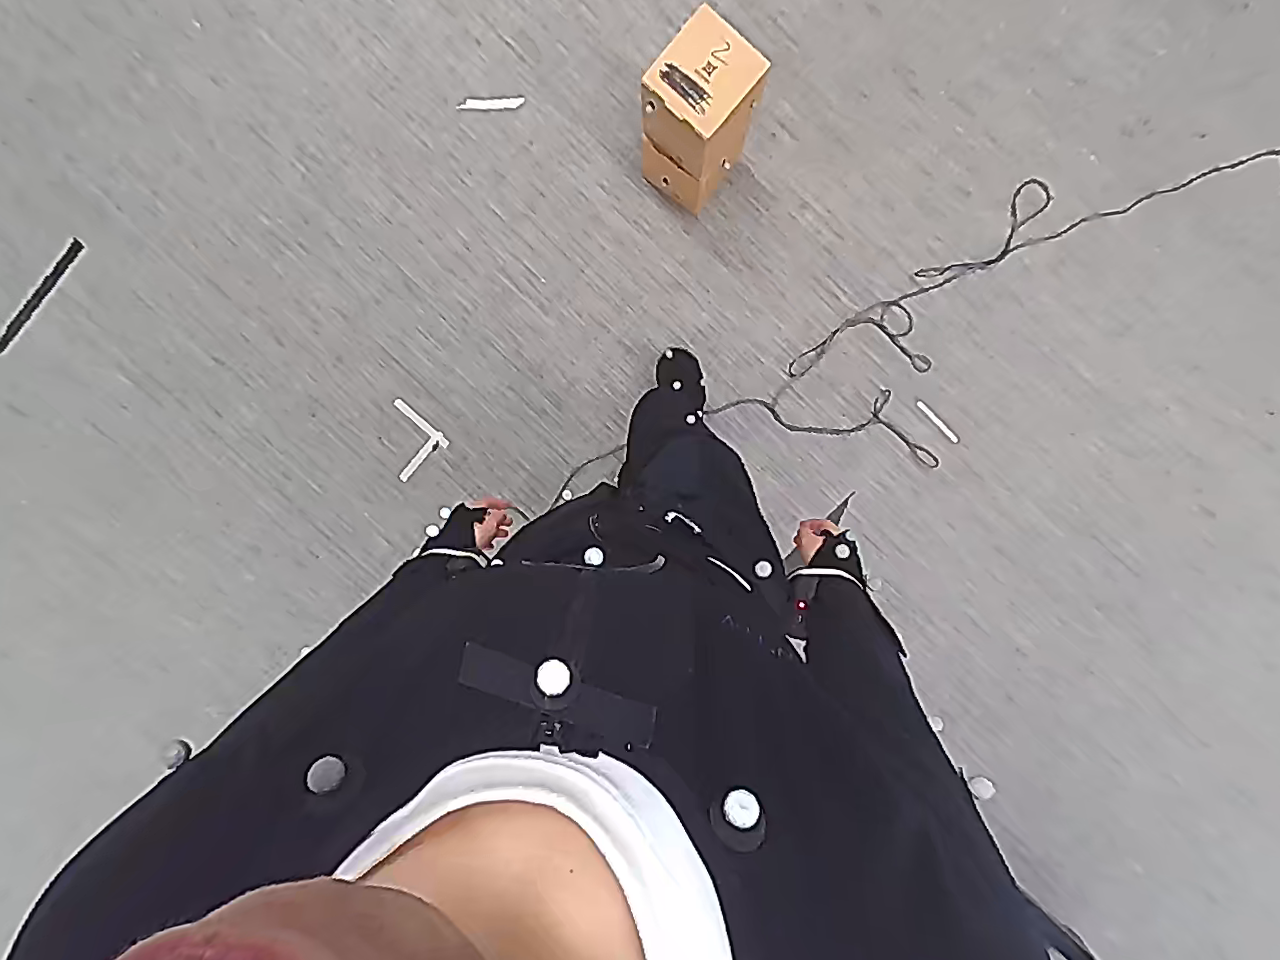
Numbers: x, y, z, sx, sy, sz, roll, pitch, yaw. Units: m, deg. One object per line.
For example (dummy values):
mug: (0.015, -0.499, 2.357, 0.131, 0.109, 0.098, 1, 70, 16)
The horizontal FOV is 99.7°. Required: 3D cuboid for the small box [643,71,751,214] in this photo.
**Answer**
small box: (0.119, -0.744, 1.214, 0.168, 0.176, 0.179, 37, 95, -1)
